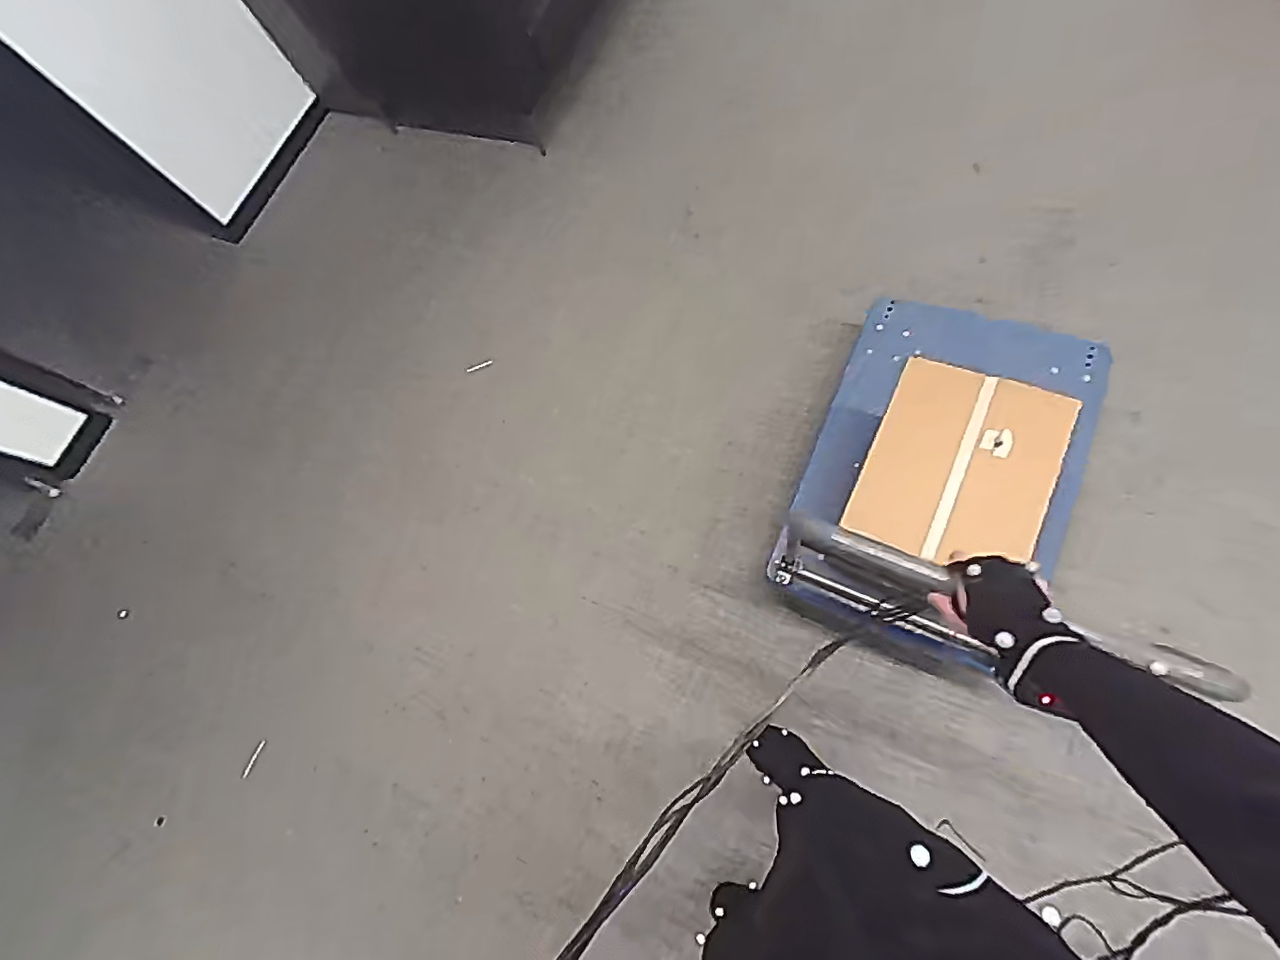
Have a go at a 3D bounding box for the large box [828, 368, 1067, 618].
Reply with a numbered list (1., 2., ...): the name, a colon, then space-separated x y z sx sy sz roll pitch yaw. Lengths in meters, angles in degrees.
1. large box: 0.636 0.038 1.177 0.320 0.320 0.408 23 76 20
